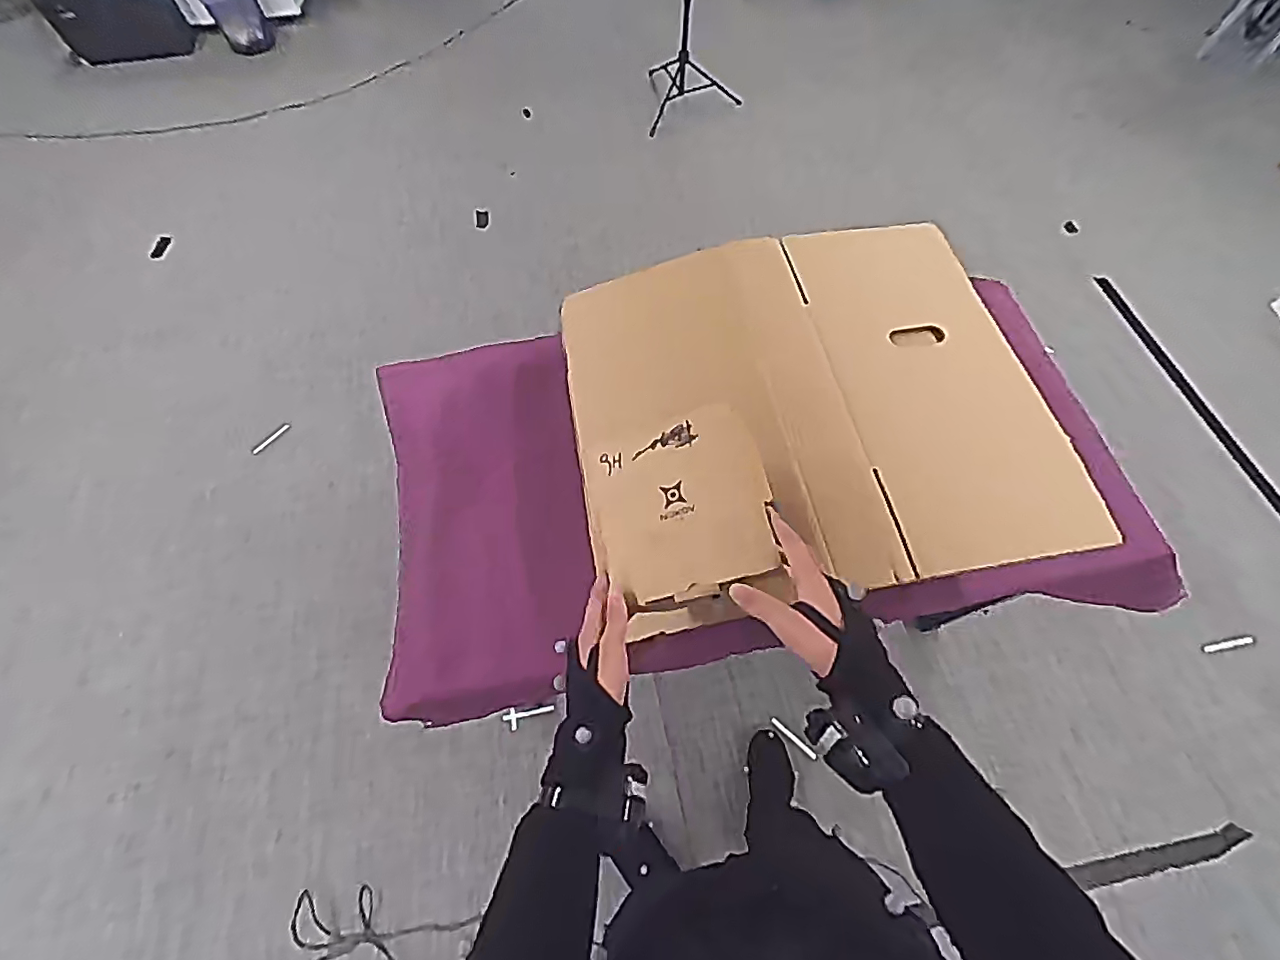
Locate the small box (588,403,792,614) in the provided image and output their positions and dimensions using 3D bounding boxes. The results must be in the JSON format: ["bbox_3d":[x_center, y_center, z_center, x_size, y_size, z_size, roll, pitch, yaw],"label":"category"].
[{"bbox_3d":[0.063,0.042,0.599,0.168,0.176,0.179,-17,73,15],"label":"small box"}]
